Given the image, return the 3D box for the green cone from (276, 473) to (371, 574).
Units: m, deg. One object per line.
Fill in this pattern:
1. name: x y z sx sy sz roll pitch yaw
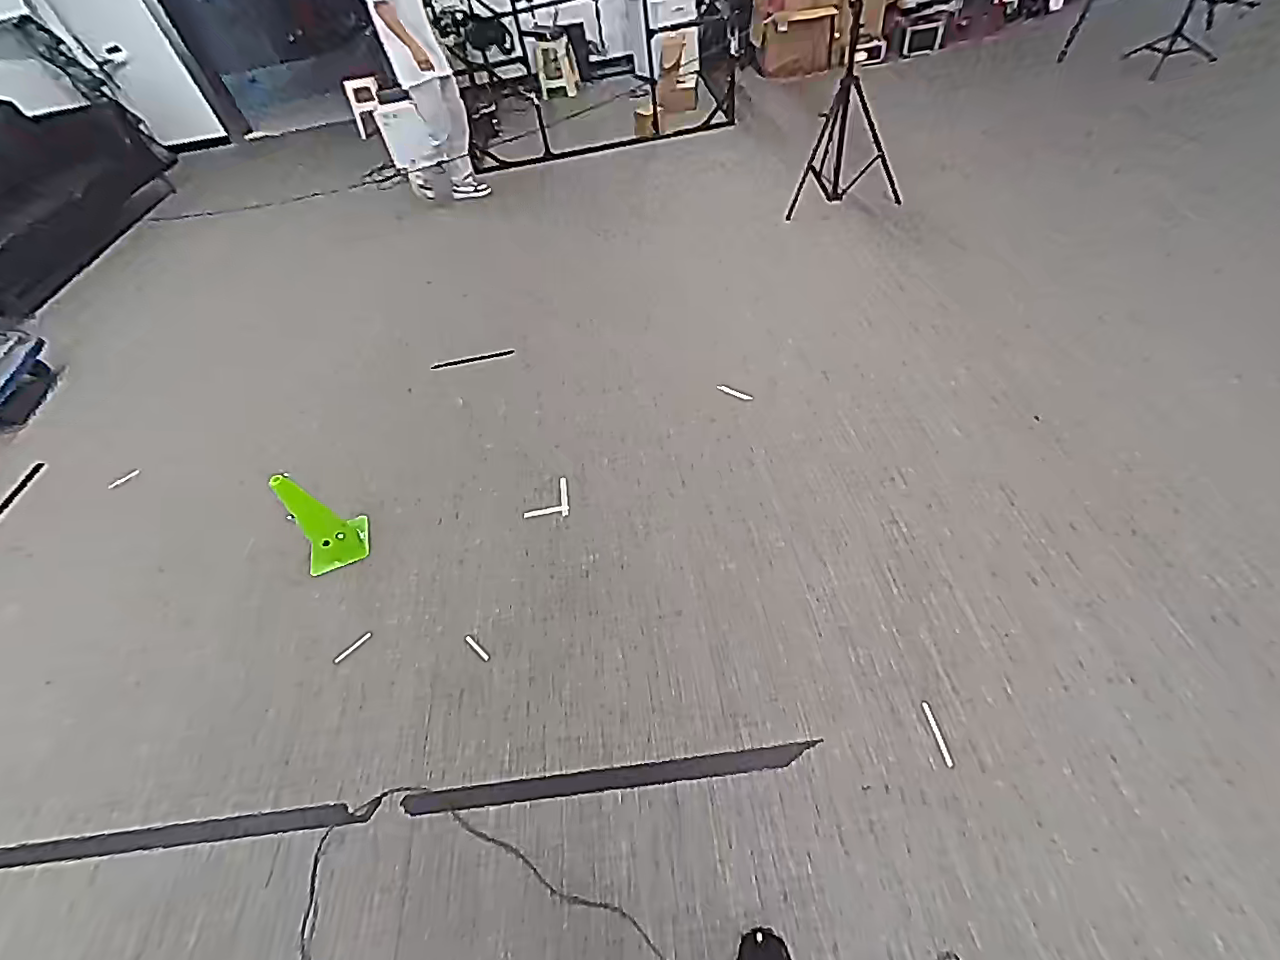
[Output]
1. green cone: -1.070 0.113 1.773 0.202 0.368 0.200 -20 49 -9
